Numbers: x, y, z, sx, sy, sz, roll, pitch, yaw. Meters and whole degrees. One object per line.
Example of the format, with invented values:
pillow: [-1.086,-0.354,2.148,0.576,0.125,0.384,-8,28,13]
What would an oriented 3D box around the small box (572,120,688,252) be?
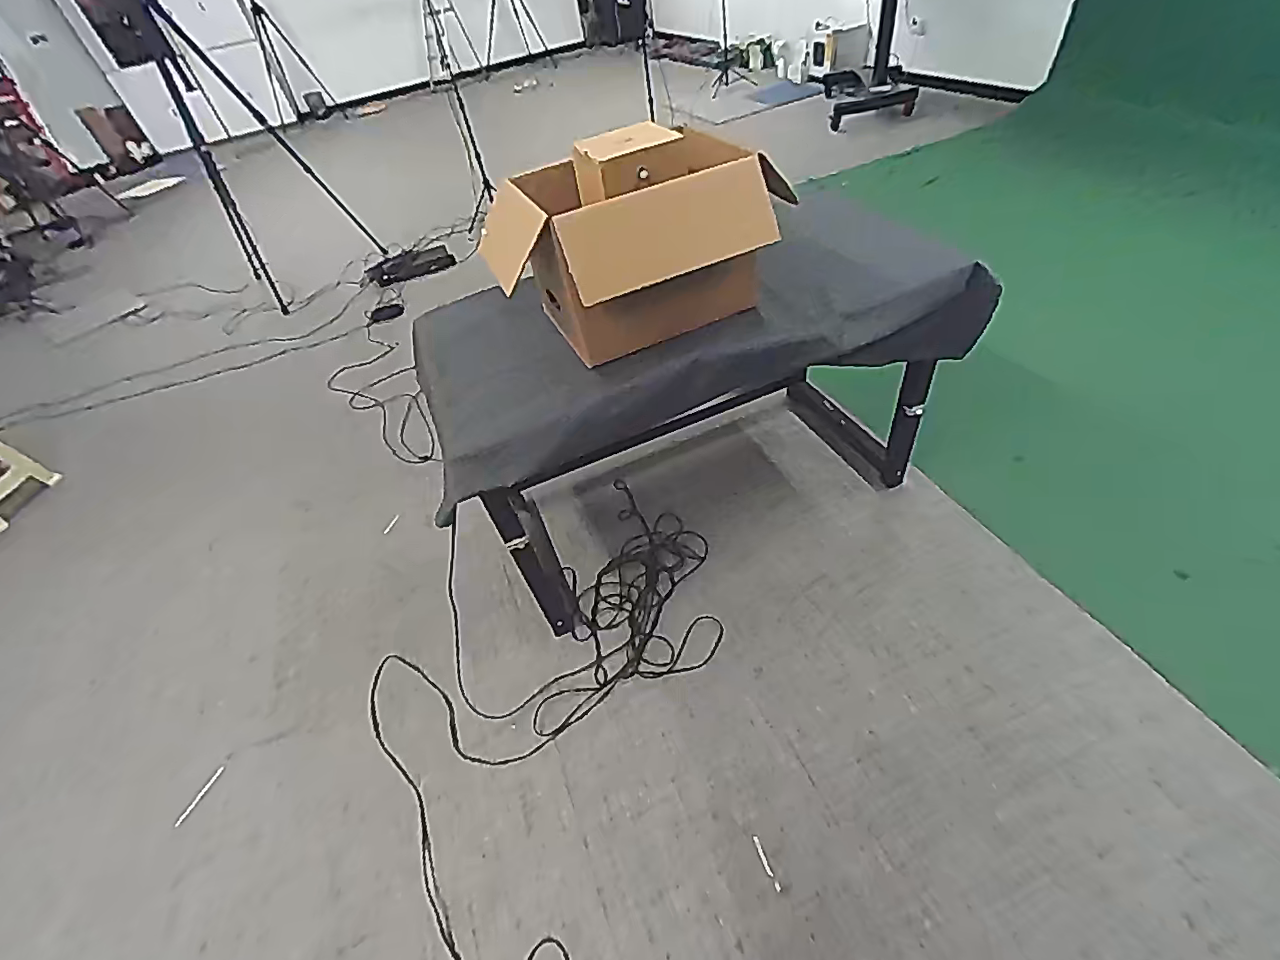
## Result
small box: [-0.014,-0.580,1.068,0.179,0.176,0.168,-23,47,-10]
